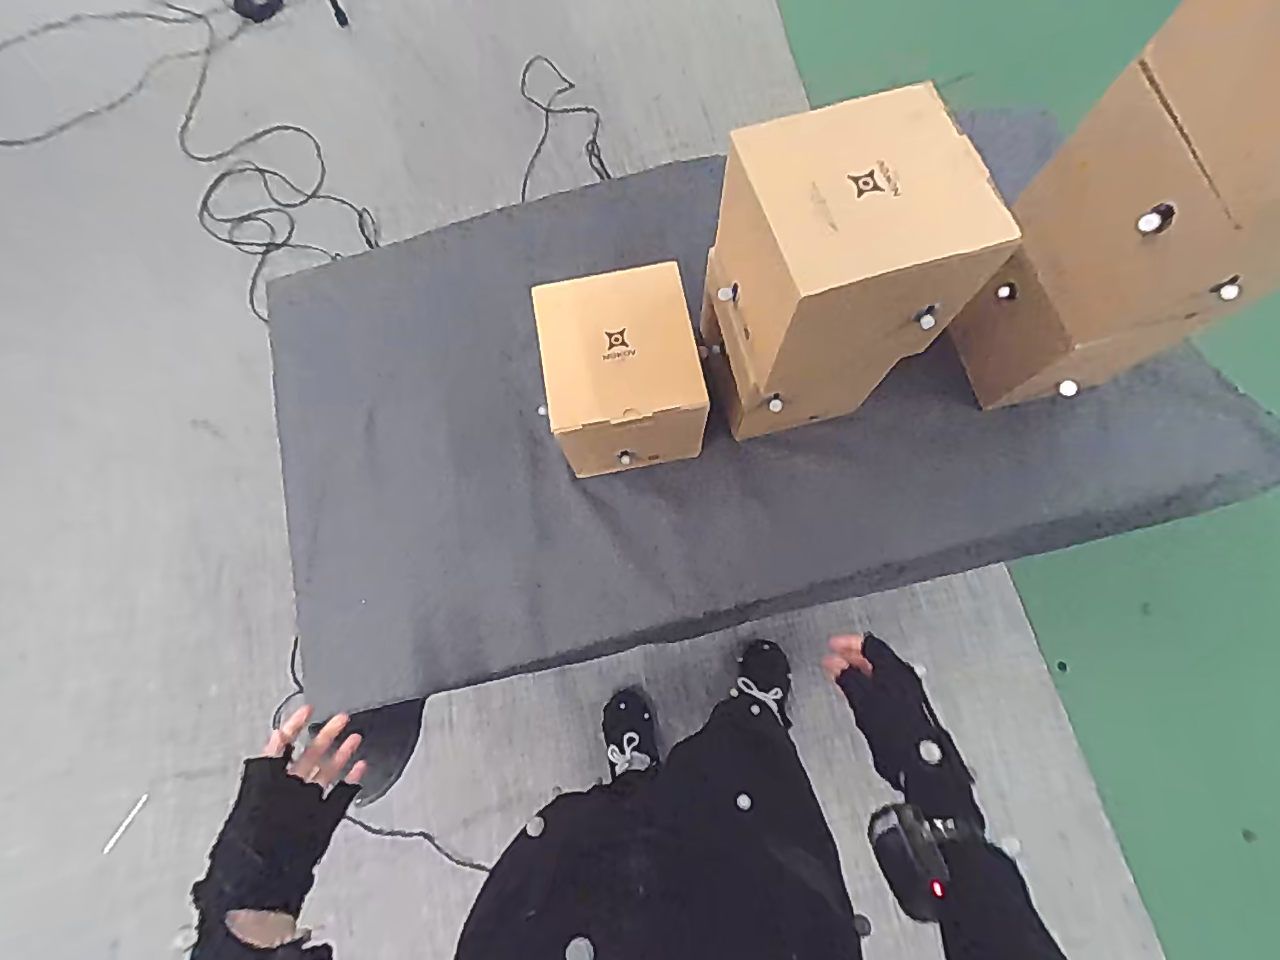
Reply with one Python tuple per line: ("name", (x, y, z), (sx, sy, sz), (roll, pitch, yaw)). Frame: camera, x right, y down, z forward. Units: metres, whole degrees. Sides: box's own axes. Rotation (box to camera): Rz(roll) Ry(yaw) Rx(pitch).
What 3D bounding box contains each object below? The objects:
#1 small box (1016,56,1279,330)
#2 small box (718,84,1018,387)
("small box", (0.501, -0.257, 0.498), (0.168, 0.176, 0.179), (-11, 74, -1))
("small box", (0.184, -0.209, 0.499), (0.179, 0.176, 0.168), (-16, 73, -2))
